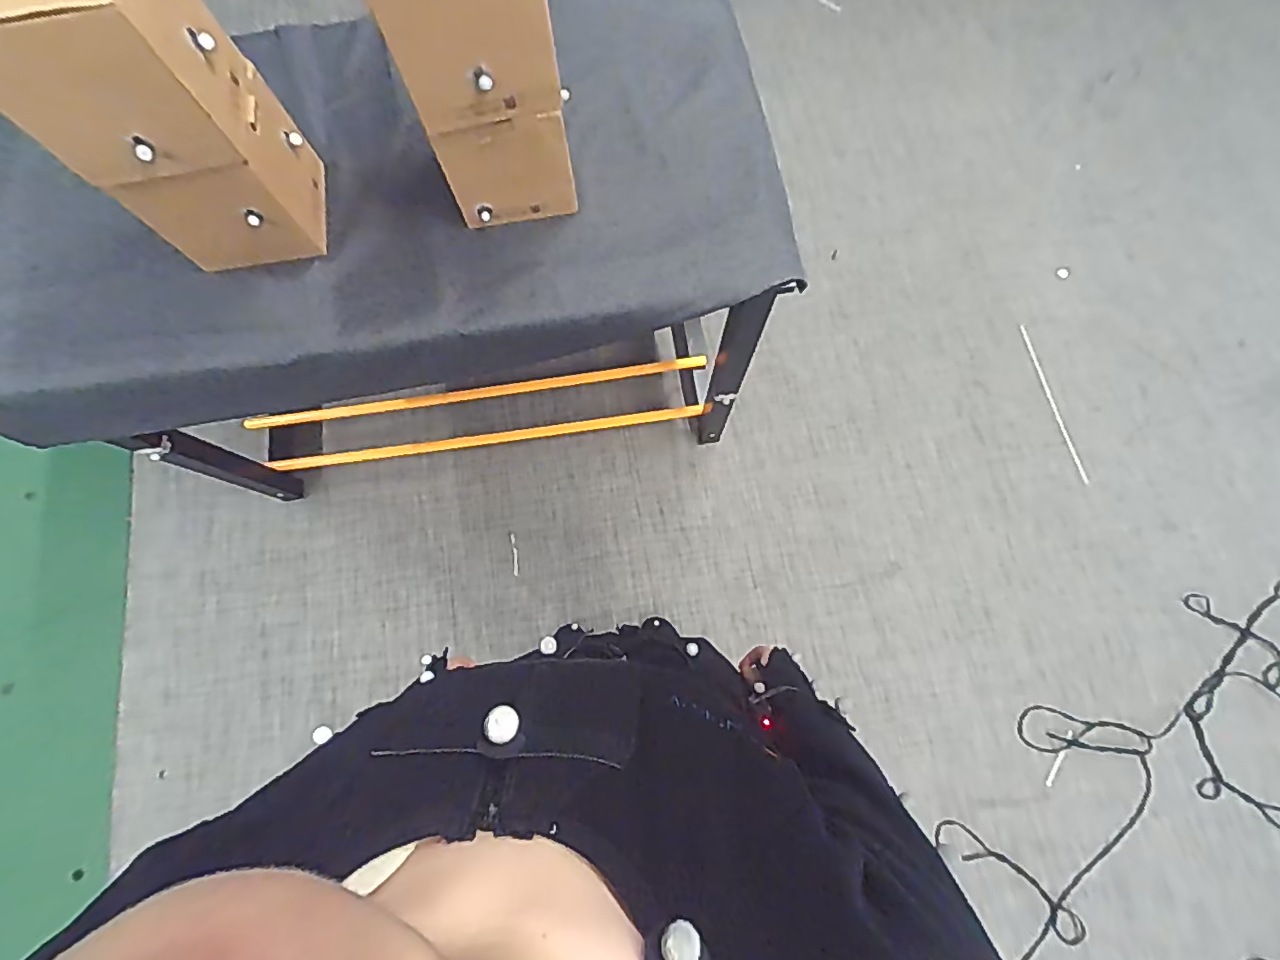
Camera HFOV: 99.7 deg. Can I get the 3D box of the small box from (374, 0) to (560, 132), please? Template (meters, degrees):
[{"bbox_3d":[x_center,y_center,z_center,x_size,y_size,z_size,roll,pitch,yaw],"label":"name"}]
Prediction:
[{"bbox_3d":[-0.193,-0.526,0.583,0.168,0.176,0.179,-15,75,-3],"label":"small box"}]

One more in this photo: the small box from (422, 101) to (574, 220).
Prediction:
[{"bbox_3d":[-0.189,-0.485,0.743,0.168,0.176,0.179,-10,74,-3],"label":"small box"}]

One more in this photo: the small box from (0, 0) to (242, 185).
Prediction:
[{"bbox_3d":[-0.554,-0.446,0.564,0.179,0.176,0.168,-13,74,-4],"label":"small box"}]

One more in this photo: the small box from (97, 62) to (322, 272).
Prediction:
[{"bbox_3d":[-0.555,-0.407,0.724,0.179,0.176,0.168,-10,74,-2],"label":"small box"}]
